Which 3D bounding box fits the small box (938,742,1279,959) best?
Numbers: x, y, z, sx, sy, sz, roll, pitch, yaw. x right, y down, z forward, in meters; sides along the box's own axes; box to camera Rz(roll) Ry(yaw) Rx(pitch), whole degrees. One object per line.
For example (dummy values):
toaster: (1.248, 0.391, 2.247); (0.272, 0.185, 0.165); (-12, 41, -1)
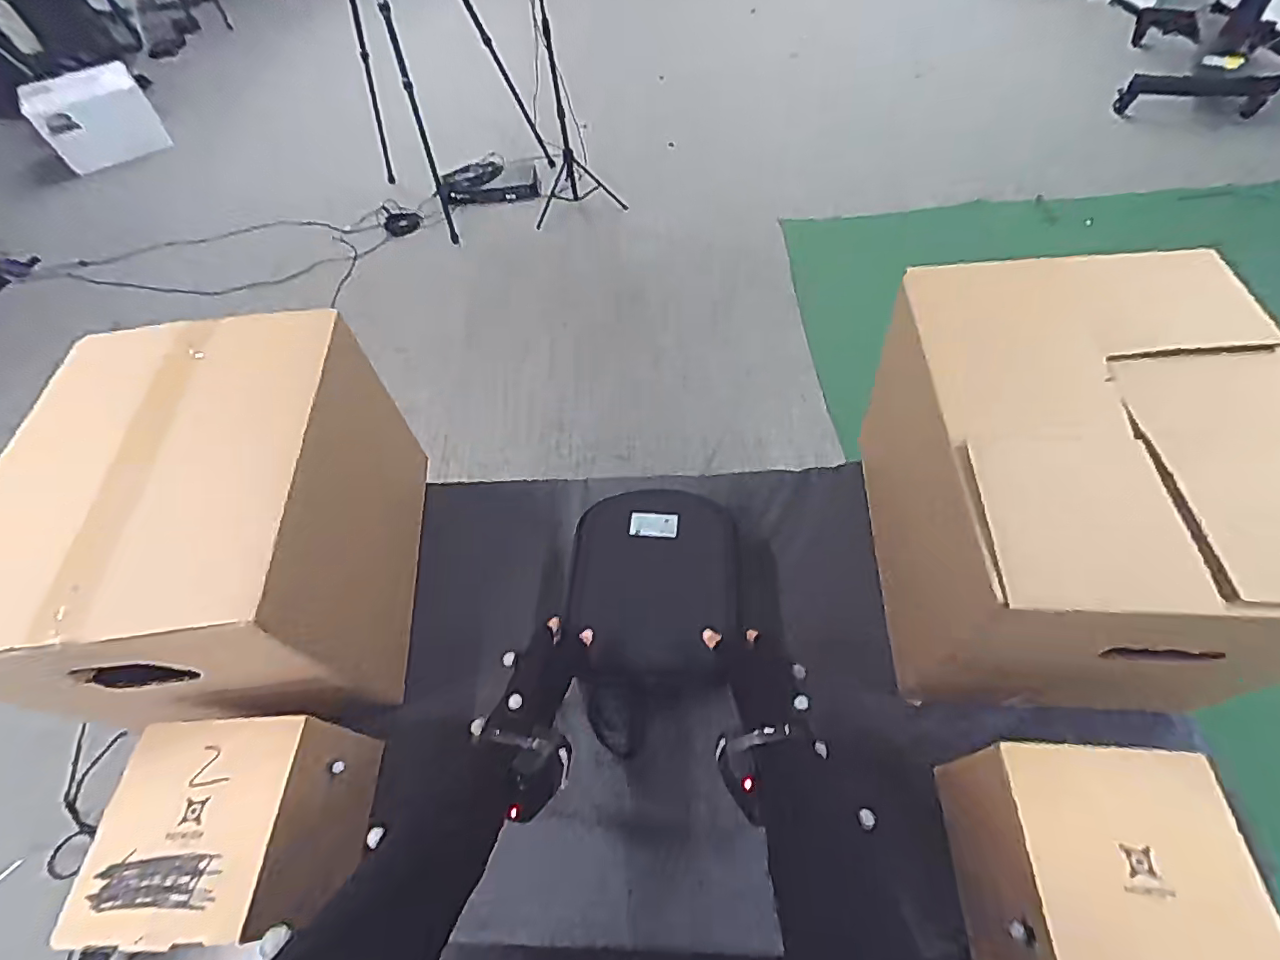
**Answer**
small box: (0.396, 0.349, 0.487); (0.168, 0.176, 0.179); (0, 57, 6)
